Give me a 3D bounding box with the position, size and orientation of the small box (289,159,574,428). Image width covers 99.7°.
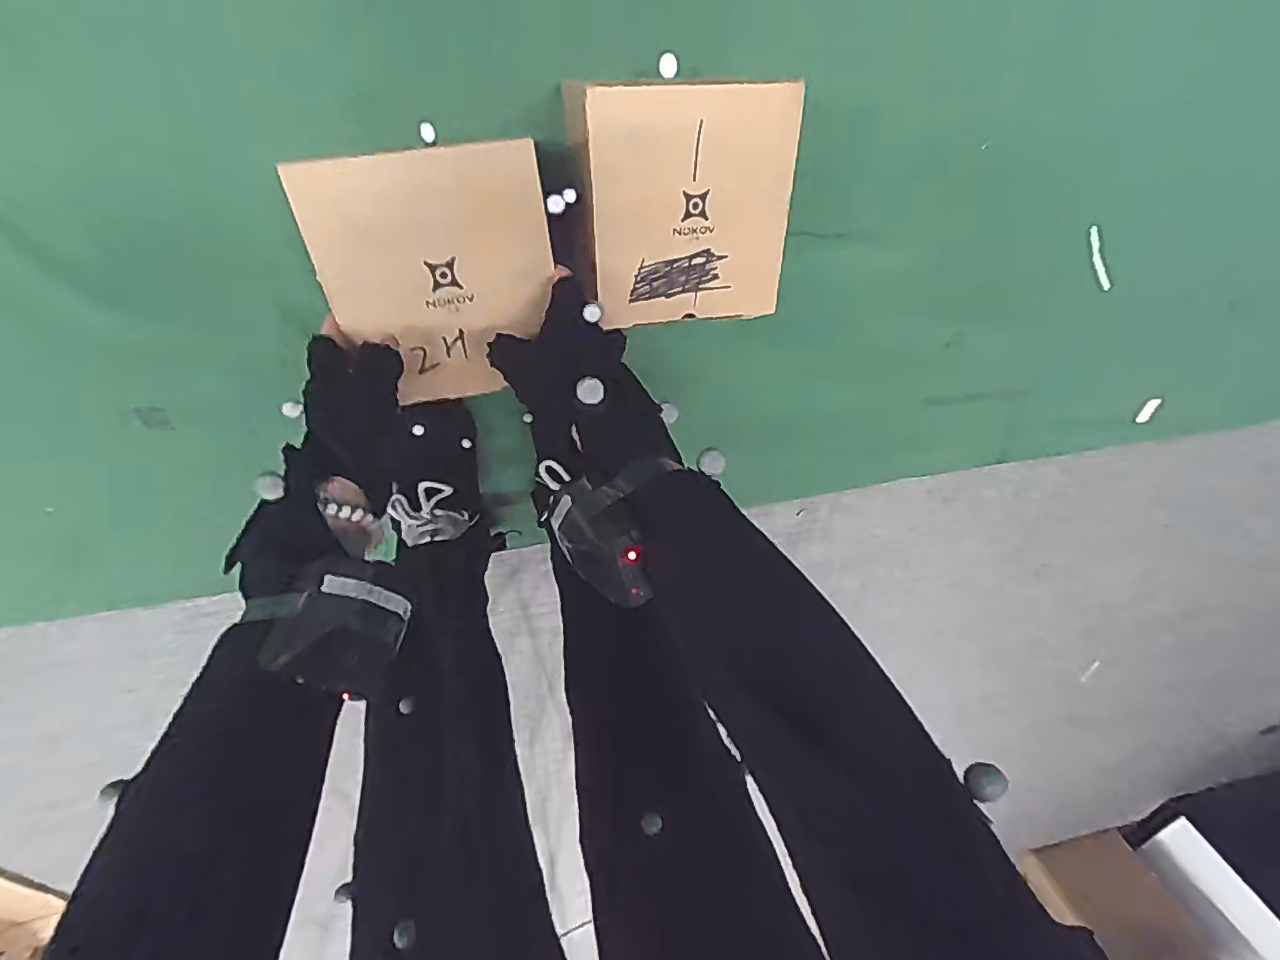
[{"bbox_3d":[-0.159,-0.169,0.469,0.168,0.176,0.179,-11,123,-7],"label":"small box"}]
